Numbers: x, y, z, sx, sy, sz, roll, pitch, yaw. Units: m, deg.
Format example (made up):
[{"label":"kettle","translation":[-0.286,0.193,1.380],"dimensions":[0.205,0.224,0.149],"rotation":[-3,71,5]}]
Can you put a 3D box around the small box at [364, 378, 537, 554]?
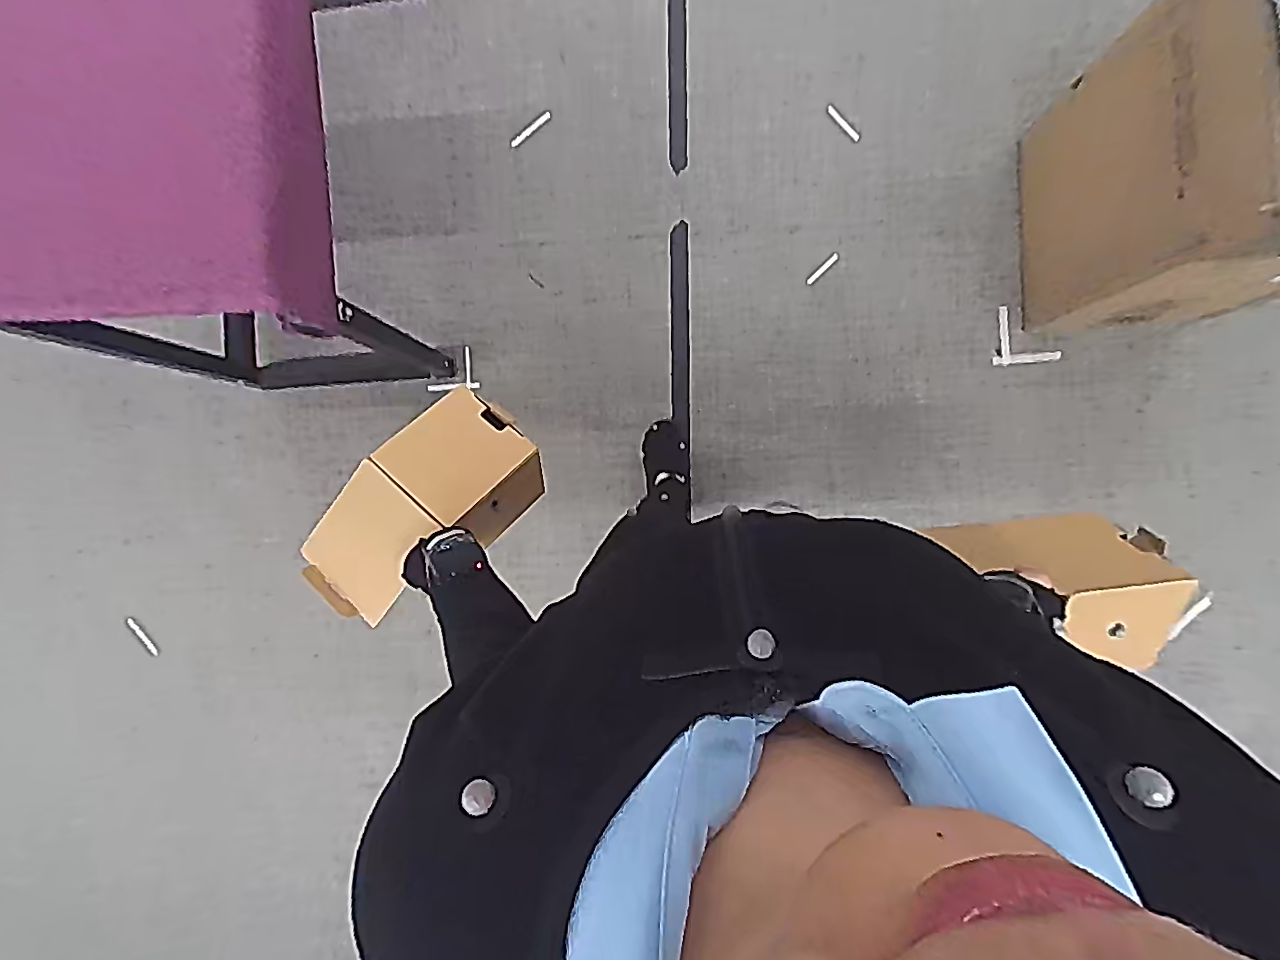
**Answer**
[{"label":"small box","translation":[-0.274,-0.013,0.832],"dimensions":[0.168,0.176,0.179],"rotation":[40,67,11]}]
